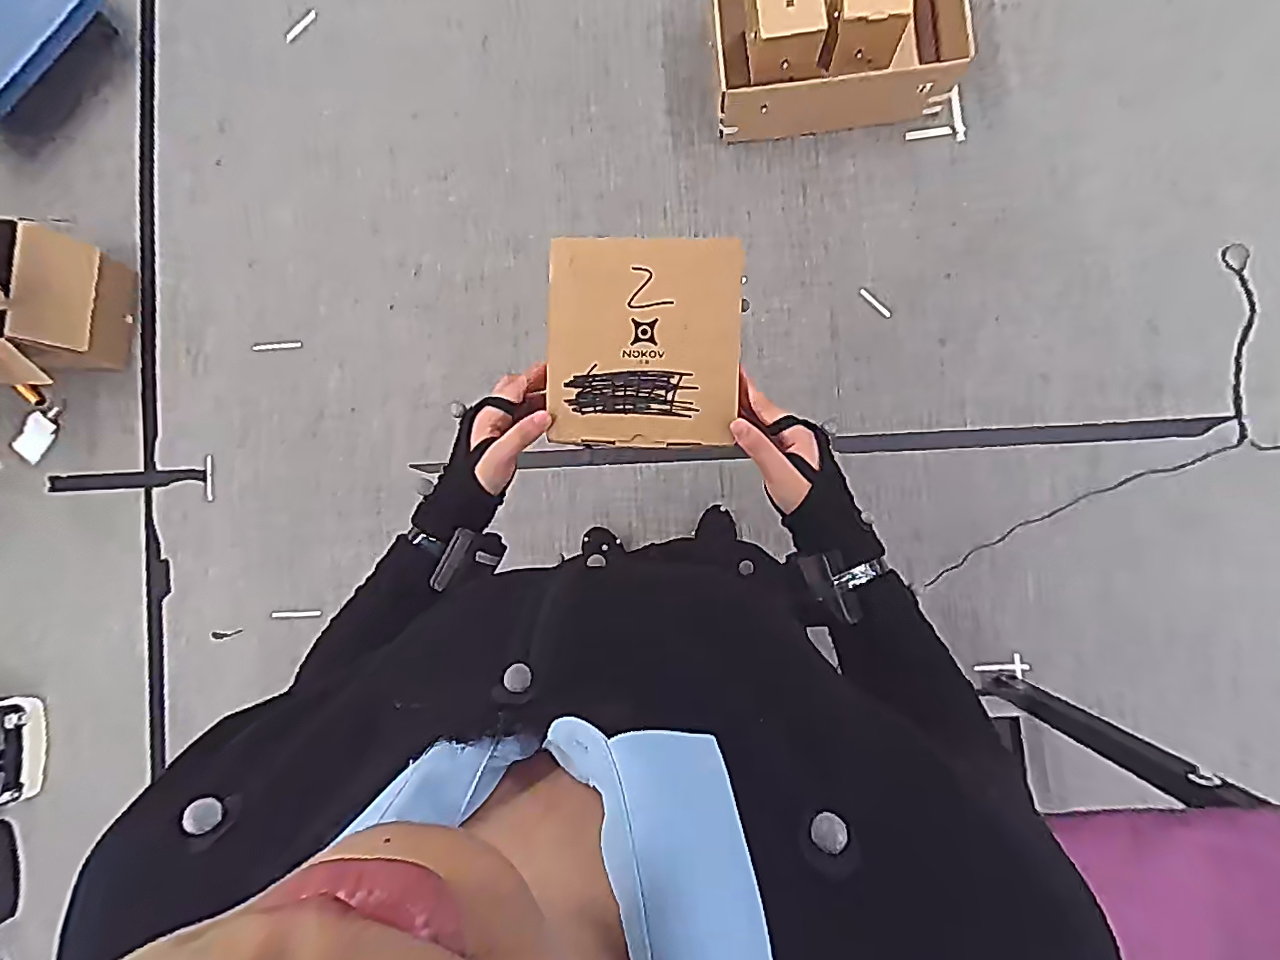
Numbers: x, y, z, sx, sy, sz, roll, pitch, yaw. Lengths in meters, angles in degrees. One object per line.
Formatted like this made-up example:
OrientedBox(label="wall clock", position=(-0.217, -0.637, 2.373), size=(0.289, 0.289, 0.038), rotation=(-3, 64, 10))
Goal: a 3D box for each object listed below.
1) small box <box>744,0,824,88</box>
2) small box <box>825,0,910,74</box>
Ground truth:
OrientedBox(label="small box", position=(0.372, -1.173, 1.422), size=(0.168, 0.176, 0.179), rotation=(-6, 86, 3))
OrientedBox(label="small box", position=(0.587, -1.209, 1.410), size=(0.168, 0.176, 0.179), rotation=(1, 87, 5))
